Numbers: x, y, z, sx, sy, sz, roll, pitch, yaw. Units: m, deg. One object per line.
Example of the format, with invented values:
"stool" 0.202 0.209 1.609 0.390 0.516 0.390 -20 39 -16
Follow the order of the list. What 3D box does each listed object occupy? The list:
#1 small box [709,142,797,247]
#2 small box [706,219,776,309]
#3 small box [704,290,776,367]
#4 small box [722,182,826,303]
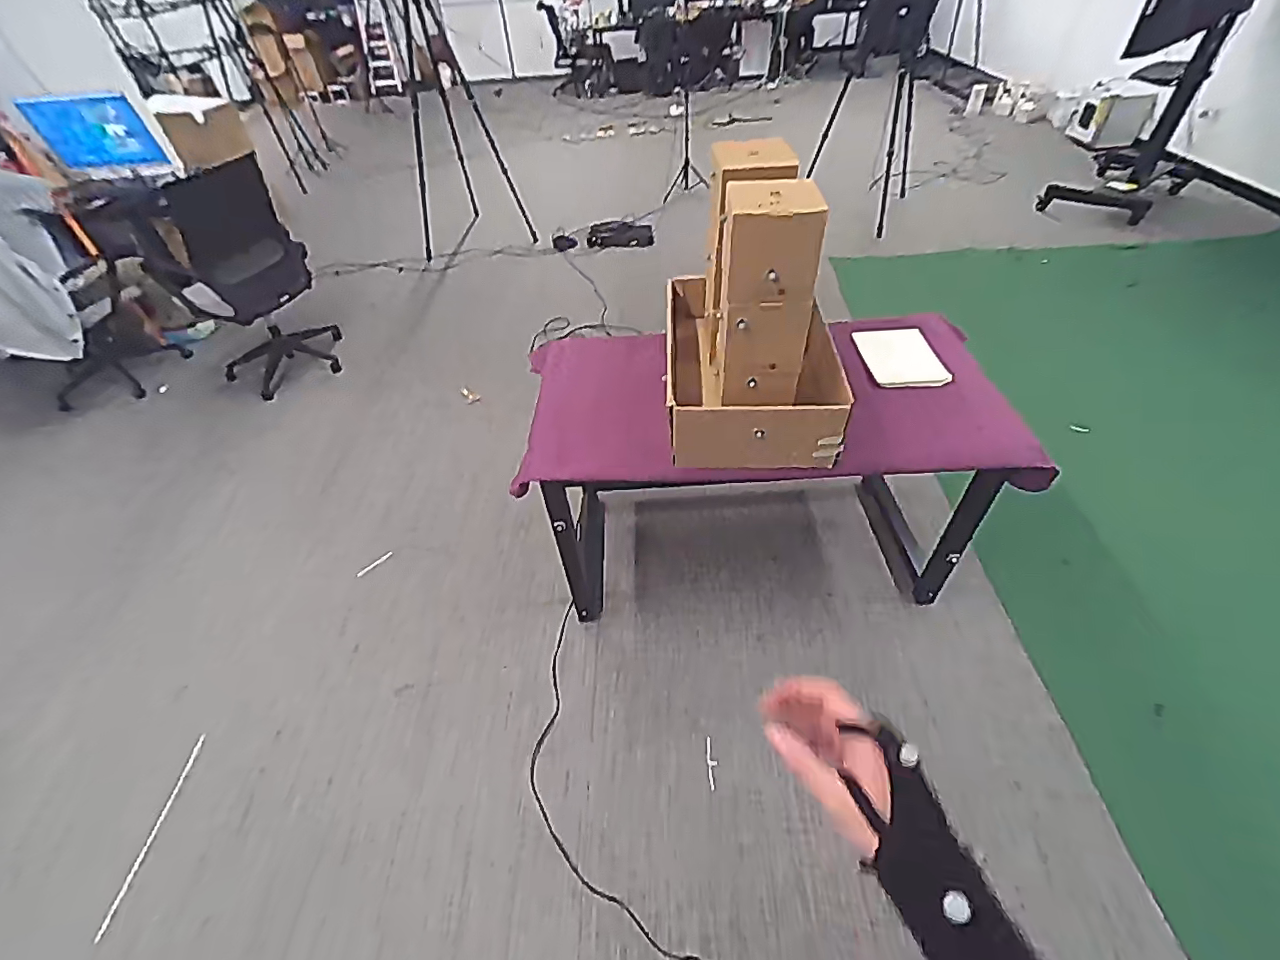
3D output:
"small box" 0.252 -0.657 1.249 0.168 0.176 0.179 -3 48 2
"small box" 0.259 -0.547 1.369 0.168 0.176 0.179 -3 47 1
"small box" 0.268 -0.430 1.484 0.168 0.176 0.179 -2 48 2
"small box" 0.250 -0.463 1.056 0.168 0.176 0.179 0 46 5
